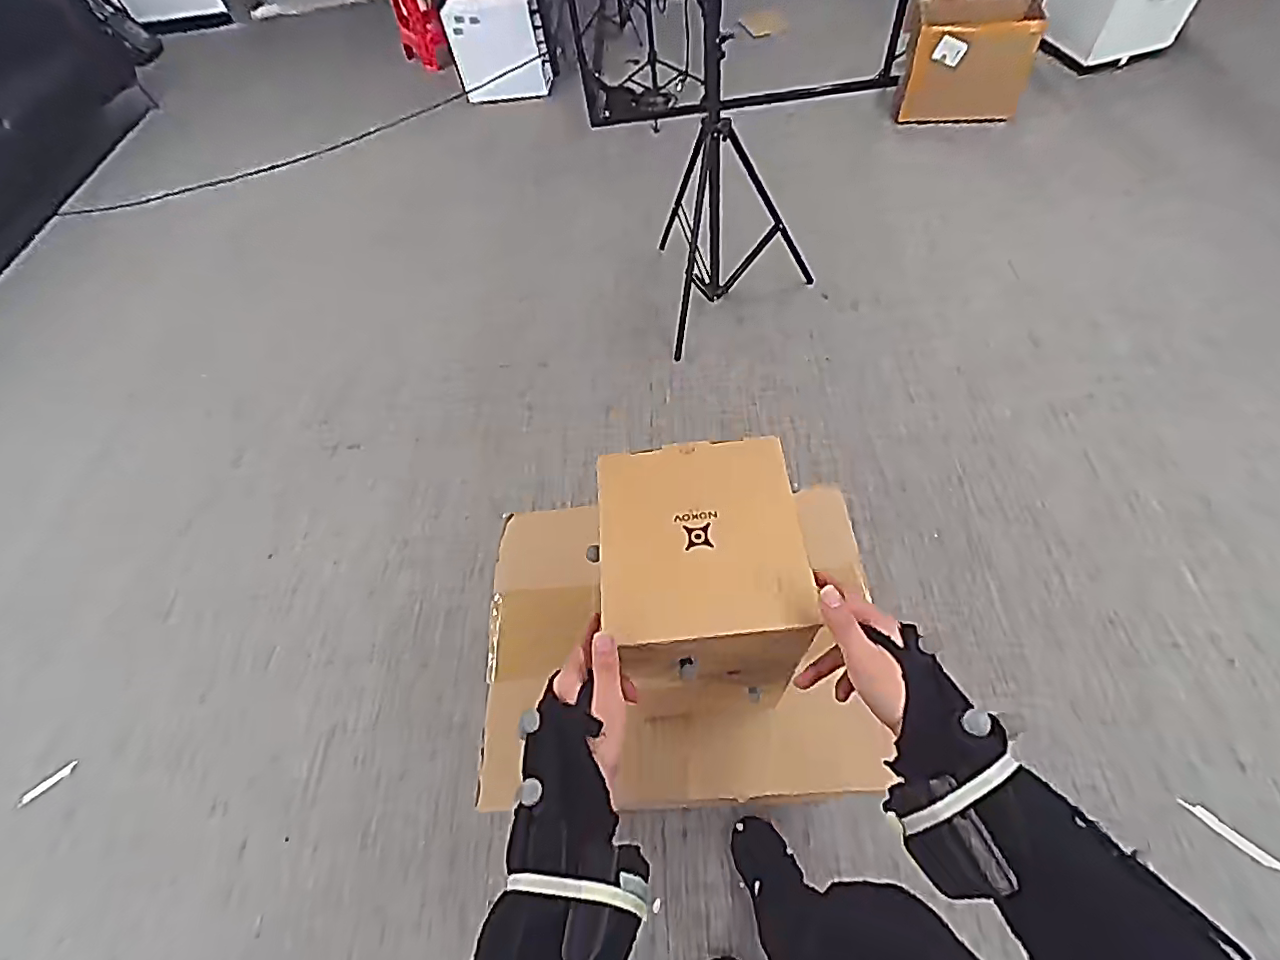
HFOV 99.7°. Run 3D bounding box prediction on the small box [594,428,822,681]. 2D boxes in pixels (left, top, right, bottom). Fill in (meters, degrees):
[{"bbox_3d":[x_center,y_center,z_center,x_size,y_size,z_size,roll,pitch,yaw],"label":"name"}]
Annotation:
[{"bbox_3d":[0.055,0.079,0.498,0.168,0.176,0.179,-7,57,3],"label":"small box"}]
